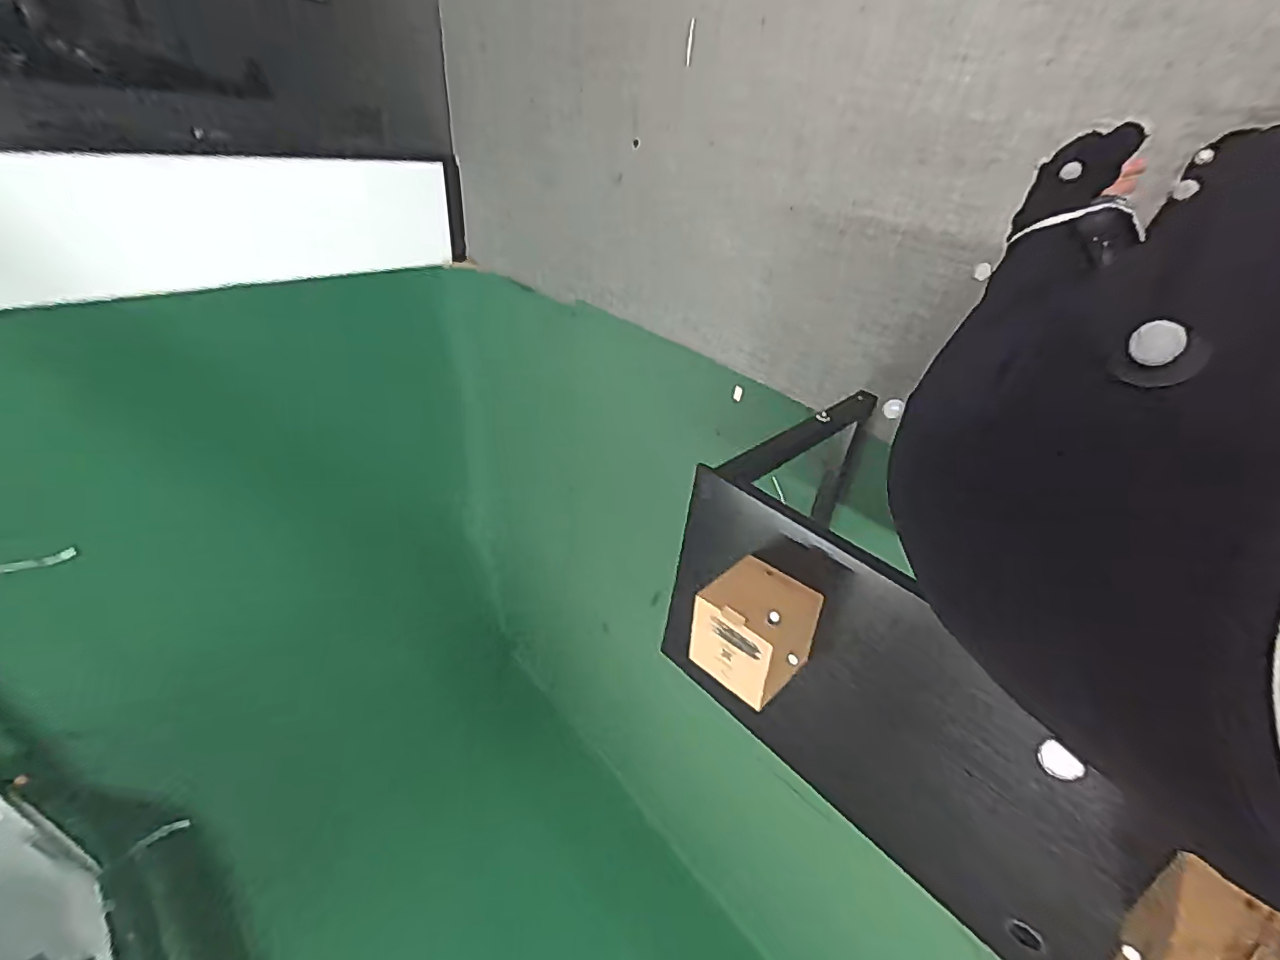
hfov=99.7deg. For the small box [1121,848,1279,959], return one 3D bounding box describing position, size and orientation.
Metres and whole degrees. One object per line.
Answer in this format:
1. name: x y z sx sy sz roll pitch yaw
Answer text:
1. small box: 0.712 0.600 0.643 0.168 0.176 0.179 27 128 39
